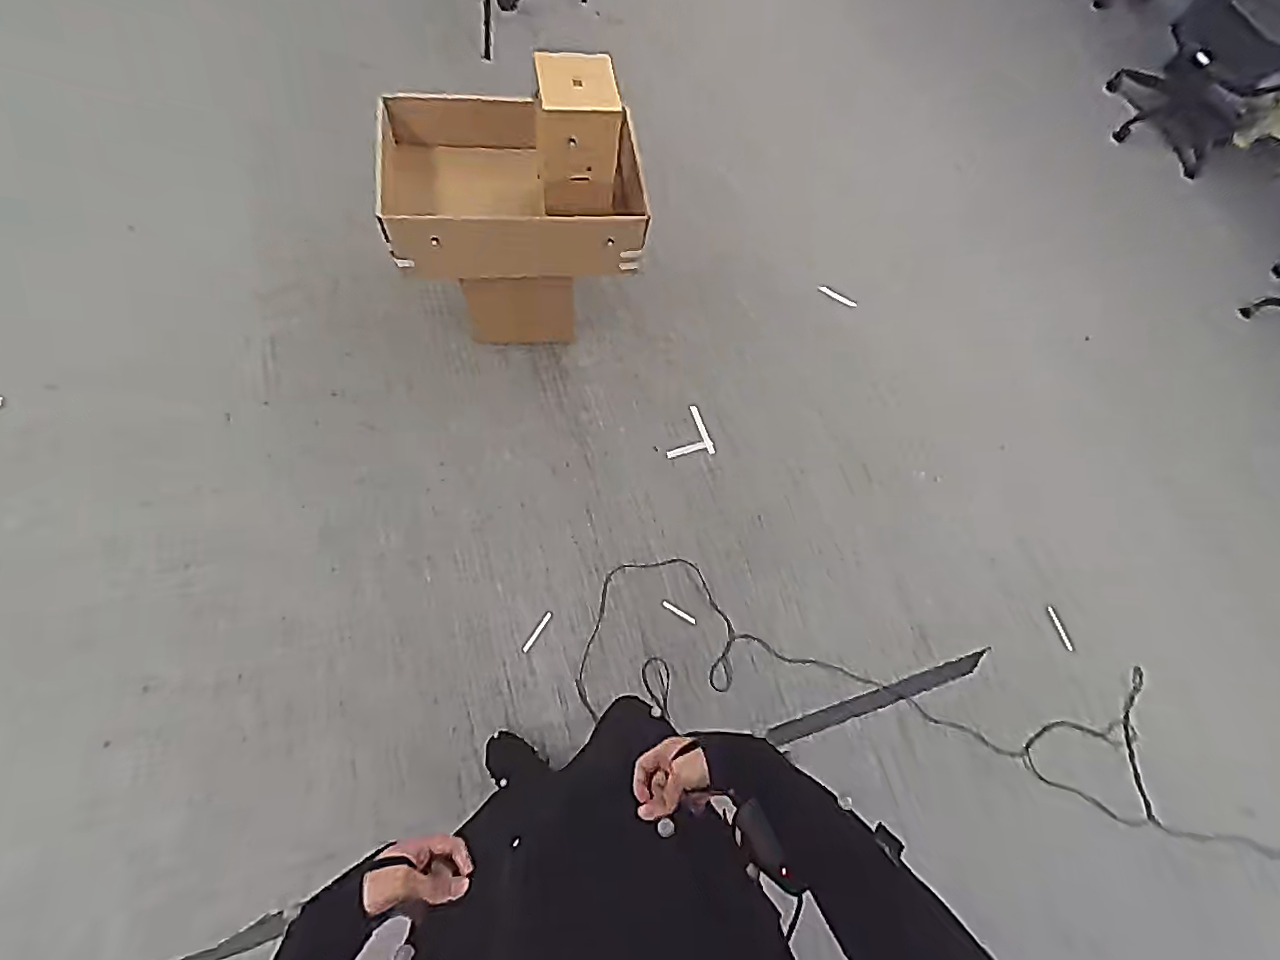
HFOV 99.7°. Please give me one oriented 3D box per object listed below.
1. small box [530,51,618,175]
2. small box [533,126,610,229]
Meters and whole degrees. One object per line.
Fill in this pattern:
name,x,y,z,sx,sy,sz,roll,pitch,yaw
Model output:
small box,-0.148,-0.808,1.202,0.168,0.176,0.179,-8,70,-12
small box,-0.172,-0.750,1.352,0.168,0.176,0.179,-8,71,-11
